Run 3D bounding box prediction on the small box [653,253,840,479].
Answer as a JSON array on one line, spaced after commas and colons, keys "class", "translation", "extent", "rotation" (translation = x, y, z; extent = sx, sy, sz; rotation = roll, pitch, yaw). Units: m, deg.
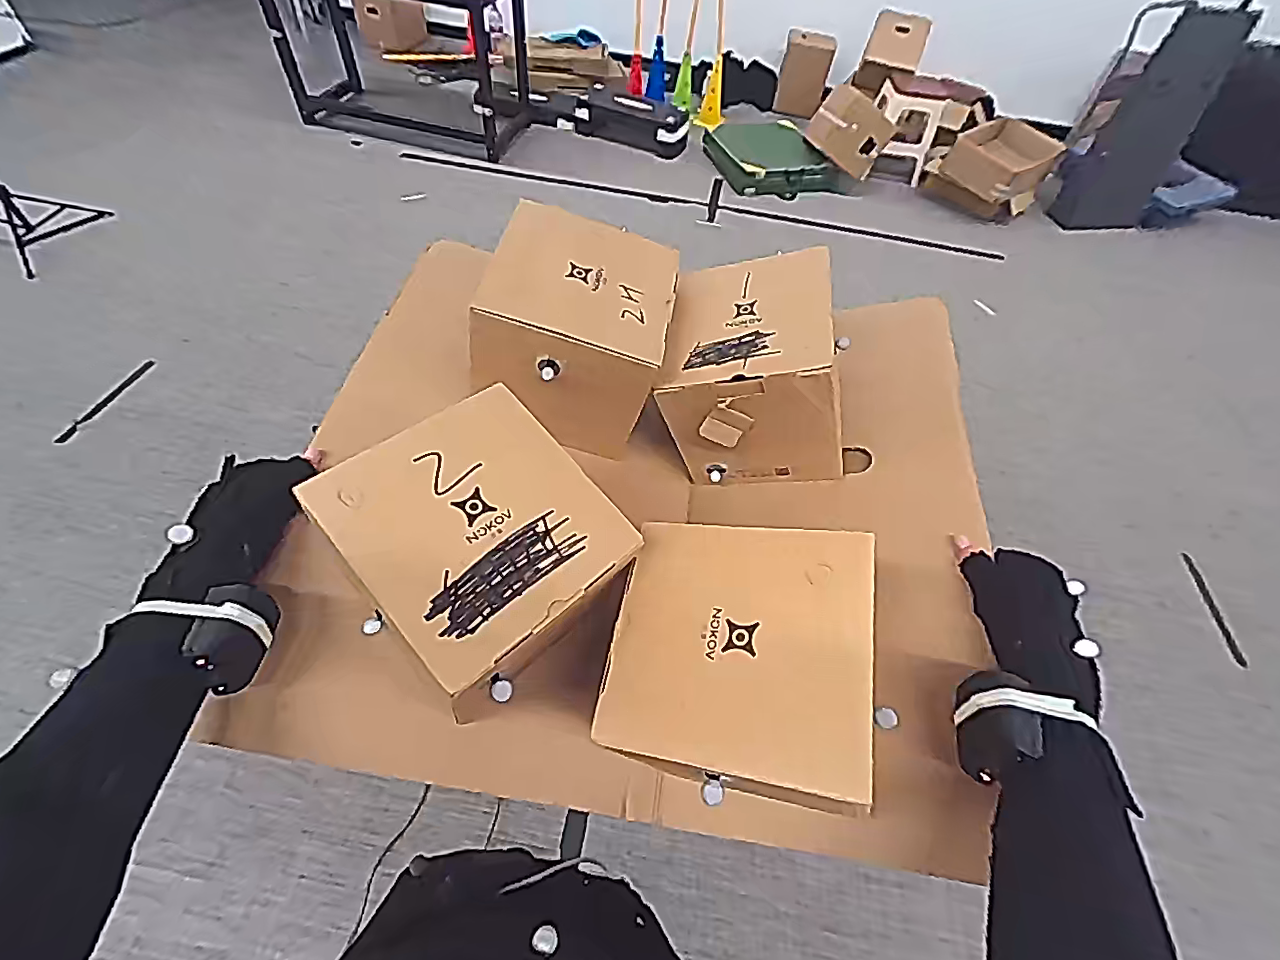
[{"class": "small box", "translation": [0.128, -0.111, 0.594], "extent": [0.168, 0.176, 0.179], "rotation": [-2, 55, 22]}]
